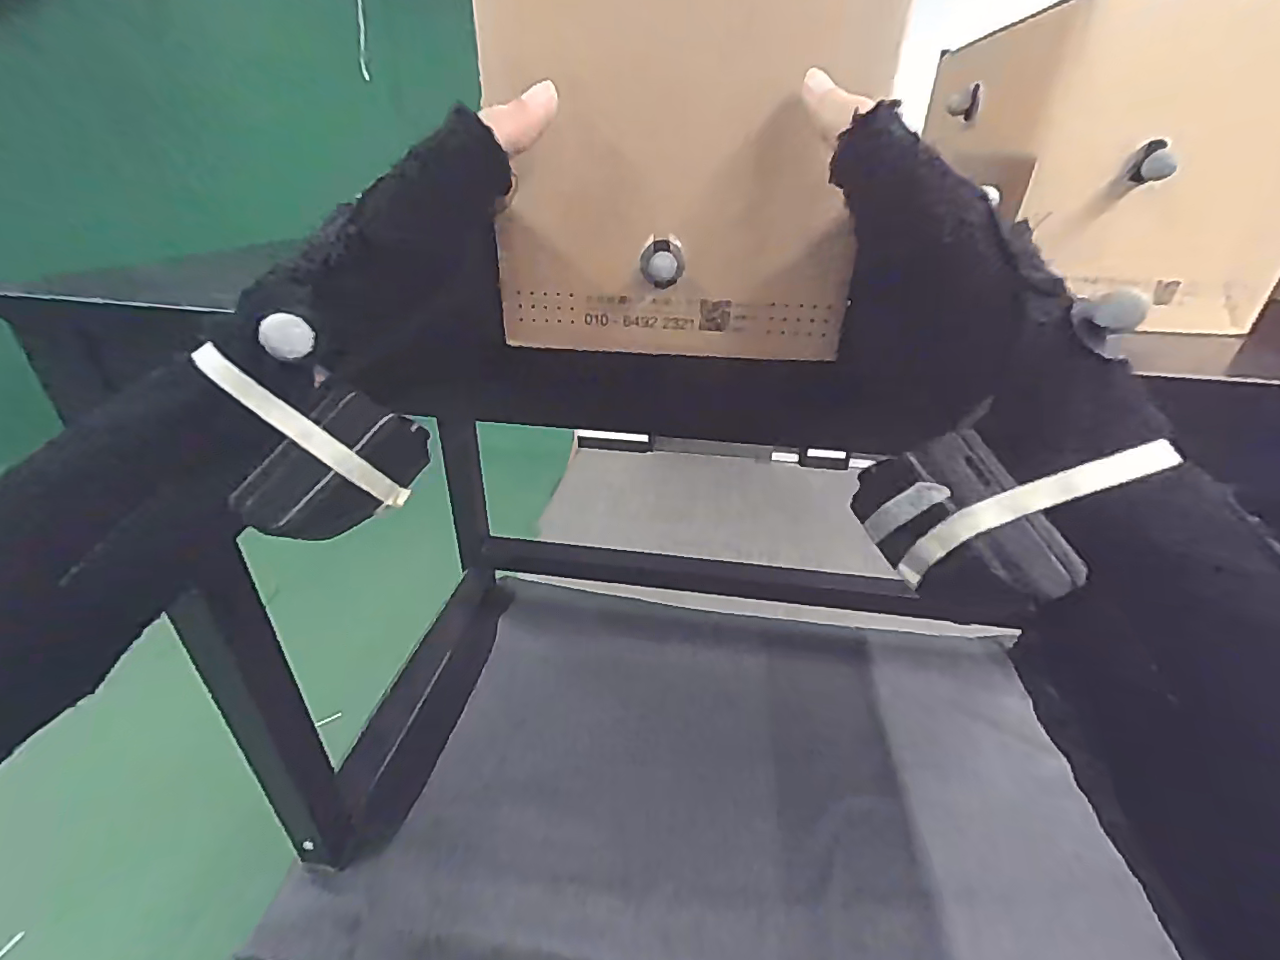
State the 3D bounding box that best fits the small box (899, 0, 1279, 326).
[{"bbox_3d":[0.304,-0.208,0.368,0.168,0.176,0.179,3,29,2],"label":"small box"}]
